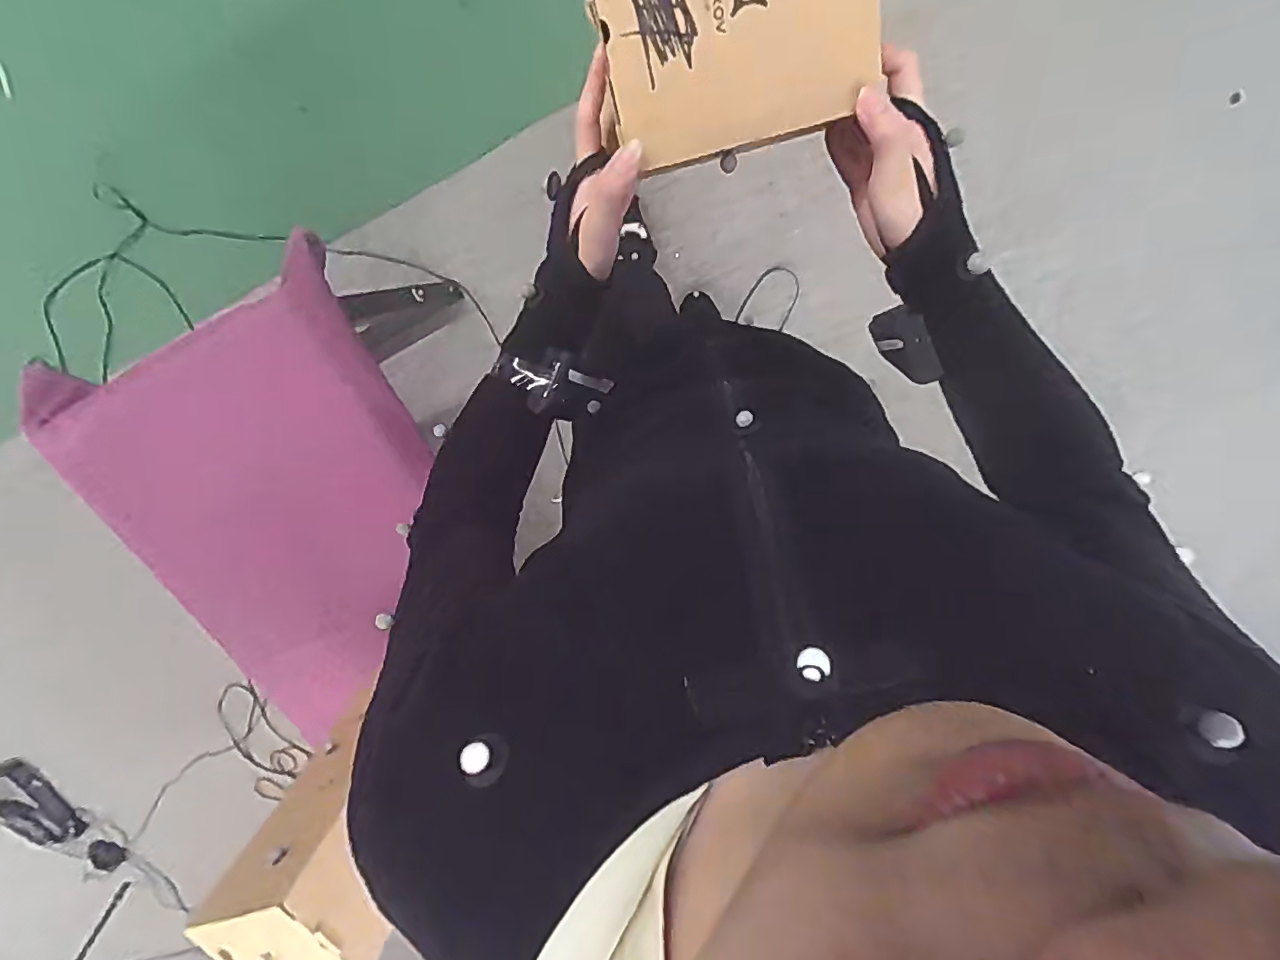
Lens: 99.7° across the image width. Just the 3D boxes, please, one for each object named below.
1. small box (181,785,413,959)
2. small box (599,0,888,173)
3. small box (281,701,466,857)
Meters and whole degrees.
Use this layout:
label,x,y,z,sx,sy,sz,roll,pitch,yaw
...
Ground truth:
label,x,y,z,sx,sy,sz,roll,pitch,yaw
small box,-0.439,0.551,0.731,0.179,0.176,0.168,-24,107,14
small box,0.066,-0.342,0.404,0.179,0.176,0.168,-11,116,8
small box,-0.418,0.488,0.880,0.168,0.176,0.179,-23,108,14
